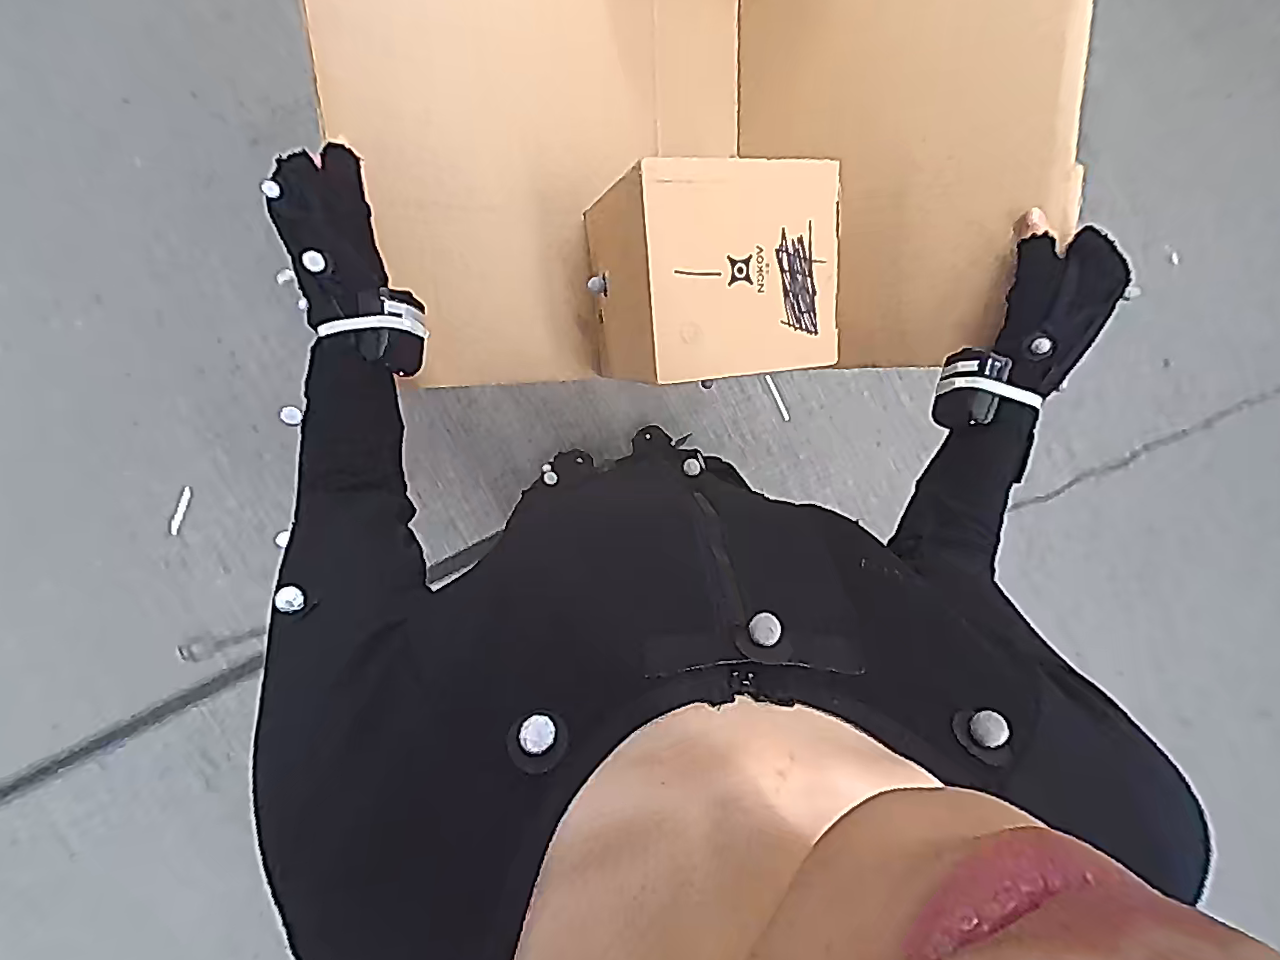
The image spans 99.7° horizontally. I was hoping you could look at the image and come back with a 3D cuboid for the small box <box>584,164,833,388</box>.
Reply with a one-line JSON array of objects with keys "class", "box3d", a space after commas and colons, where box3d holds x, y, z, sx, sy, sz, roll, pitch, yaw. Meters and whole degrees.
[{"class": "small box", "box3d": [0.058, -0.184, 0.514, 0.179, 0.176, 0.168, -11, 105, -17]}]
